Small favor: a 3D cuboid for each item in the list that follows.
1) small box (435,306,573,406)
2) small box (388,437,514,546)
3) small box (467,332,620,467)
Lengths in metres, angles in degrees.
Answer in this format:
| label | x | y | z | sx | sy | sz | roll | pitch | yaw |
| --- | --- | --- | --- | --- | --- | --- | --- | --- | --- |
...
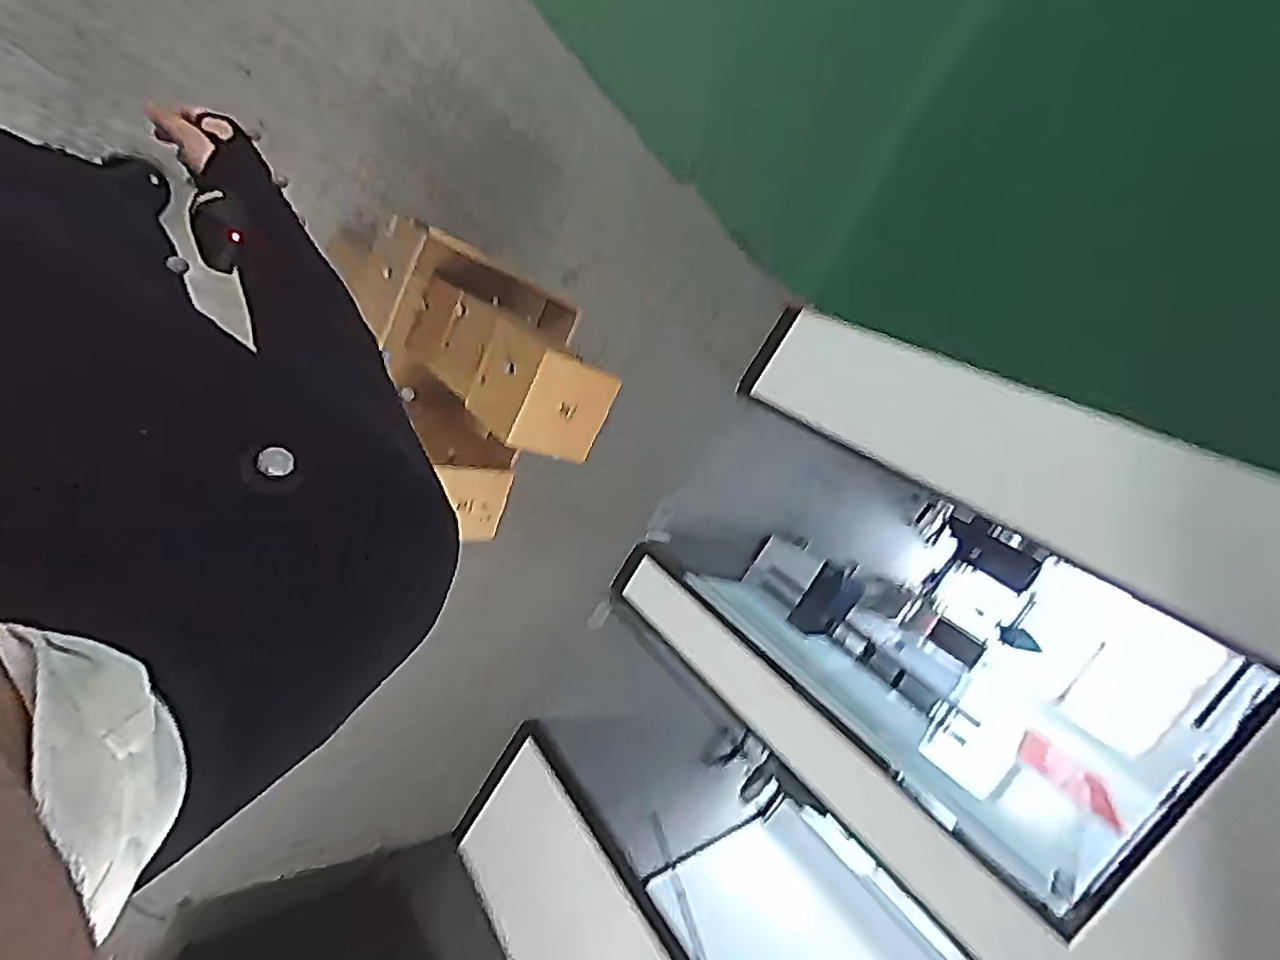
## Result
| label | x | y | z | sx | sy | sz | roll | pitch | yaw |
| --- | --- | --- | --- | --- | --- | --- | --- | --- | --- |
| small box | -0.271 | -0.222 | 1.061 | 0.179 | 0.176 | 0.168 | 15 | 107 | -51 |
| small box | -0.397 | 0.022 | 1.120 | 0.179 | 0.176 | 0.168 | 4 | 117 | -46 |
| small box | -0.175 | -0.144 | 0.956 | 0.179 | 0.176 | 0.168 | 13 | 108 | -50 |
